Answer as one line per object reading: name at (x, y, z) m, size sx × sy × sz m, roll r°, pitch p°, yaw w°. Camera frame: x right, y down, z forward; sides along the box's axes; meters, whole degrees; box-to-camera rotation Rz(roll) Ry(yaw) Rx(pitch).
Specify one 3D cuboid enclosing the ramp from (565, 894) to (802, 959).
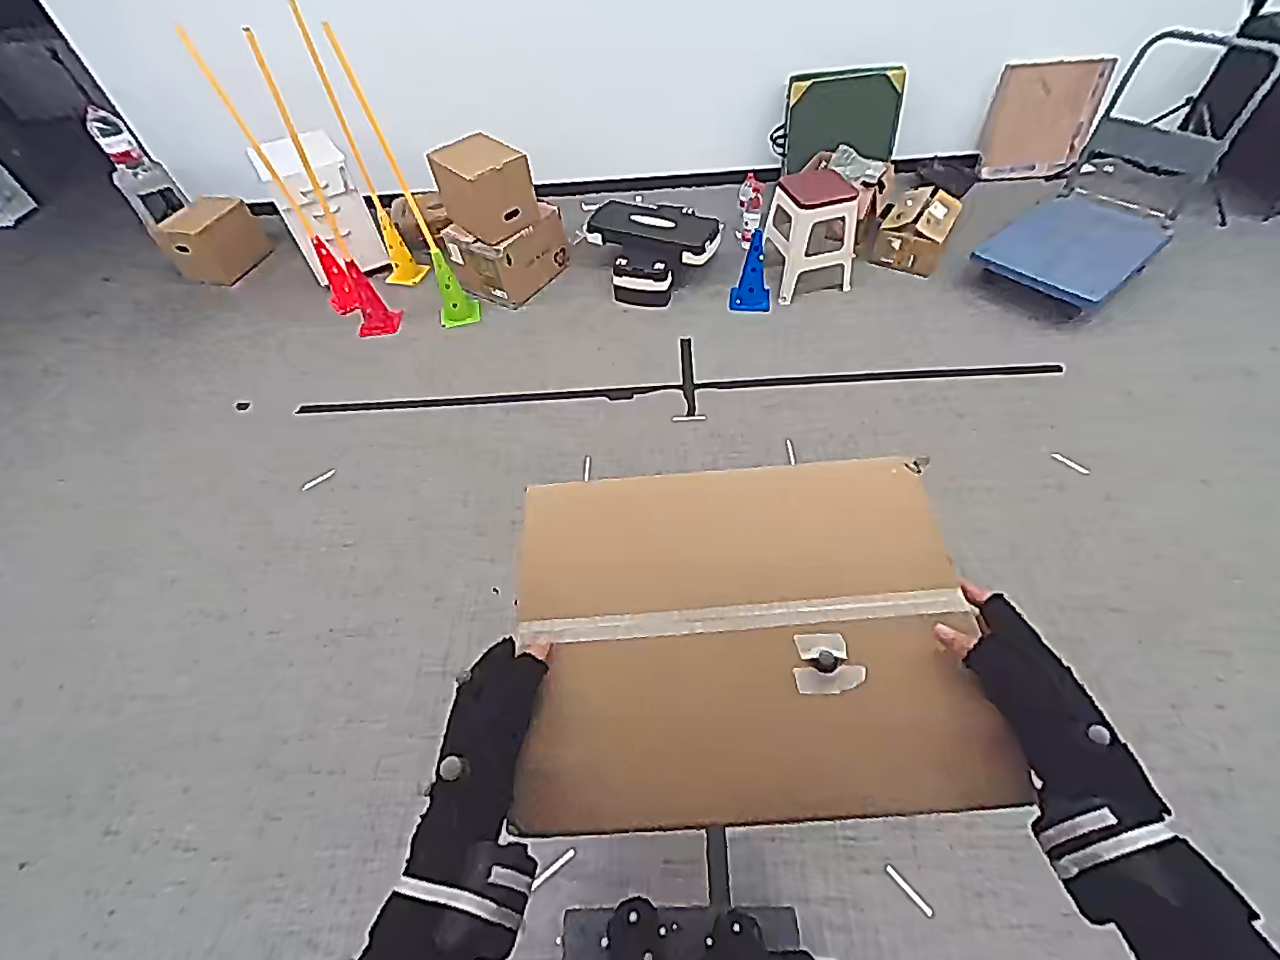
ramp at (0.098, 1.334, 0.930) m, size 0.509 × 0.206 × 0.991 m, roll -3°, pitch 52°, yaw 0°

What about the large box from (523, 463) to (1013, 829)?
large box at (0.099, 0.206, 0.634) m, size 0.408 × 0.320 × 0.320 m, roll -4°, pitch 60°, yaw 1°
